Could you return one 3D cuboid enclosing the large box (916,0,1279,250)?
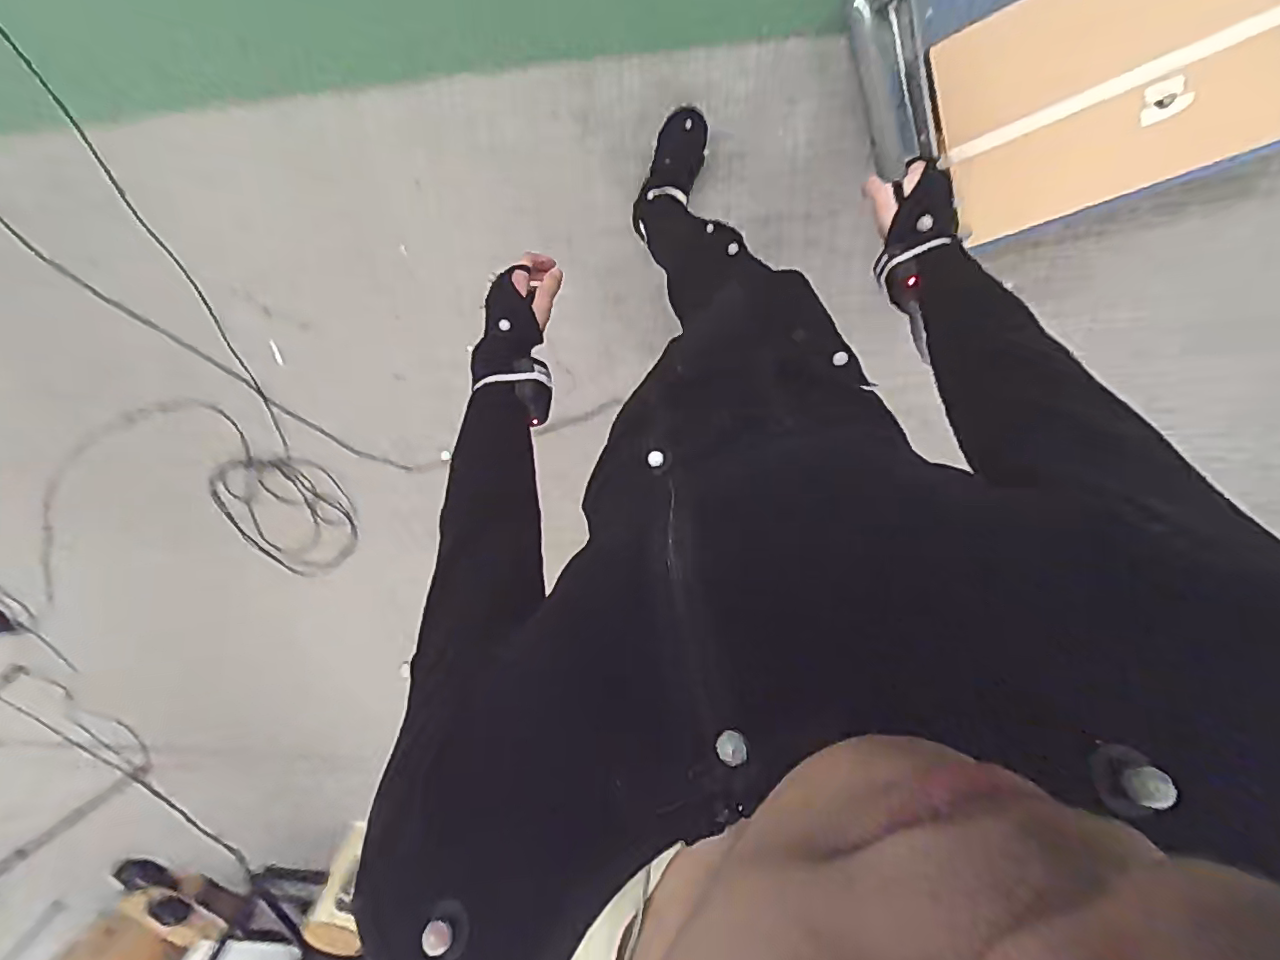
[{"bbox_3d":[0.720,-0.639,0.898,0.408,0.320,0.320,-13,118,28],"label":"large box"}]
